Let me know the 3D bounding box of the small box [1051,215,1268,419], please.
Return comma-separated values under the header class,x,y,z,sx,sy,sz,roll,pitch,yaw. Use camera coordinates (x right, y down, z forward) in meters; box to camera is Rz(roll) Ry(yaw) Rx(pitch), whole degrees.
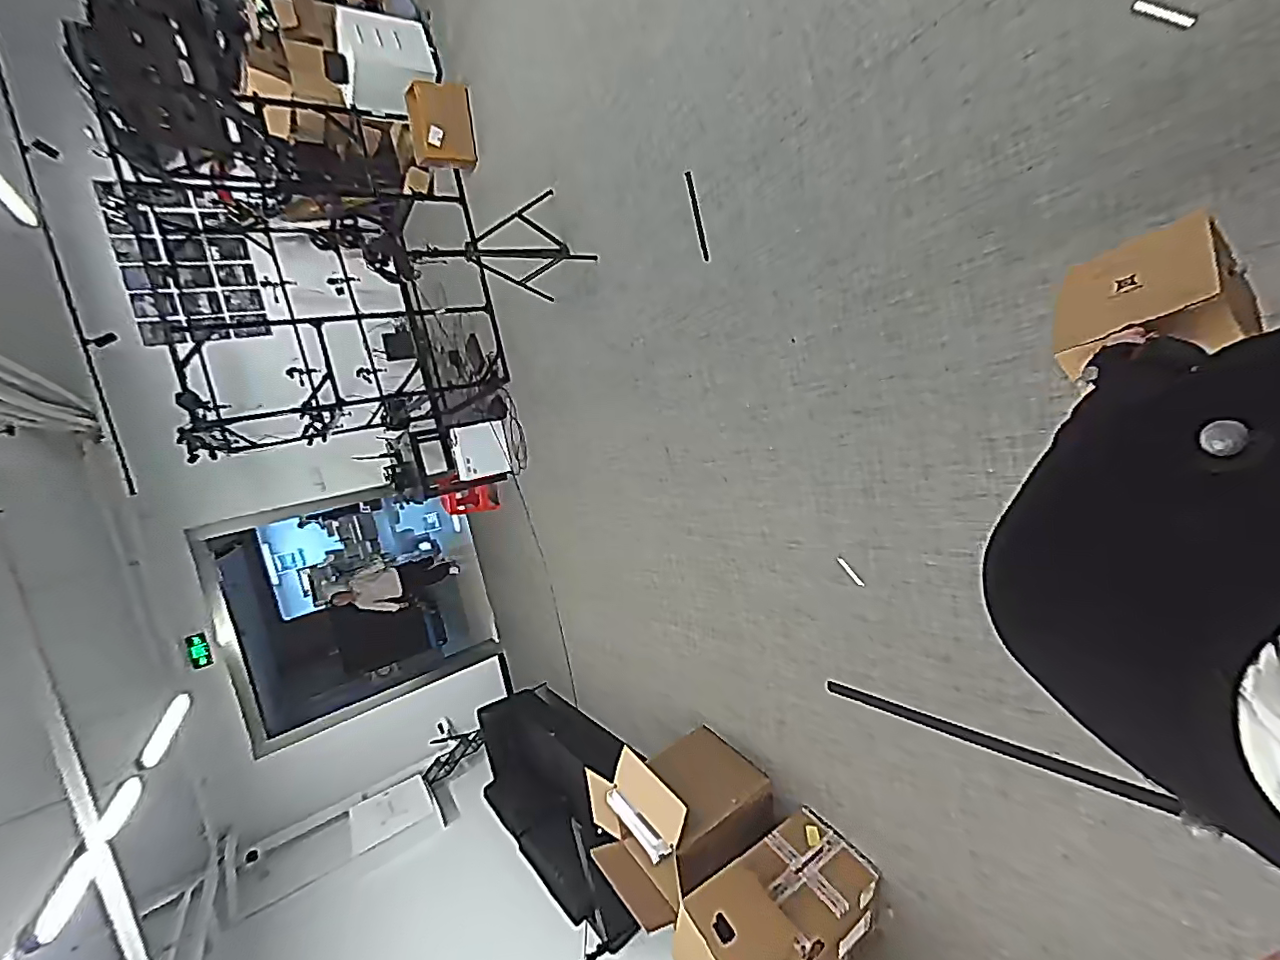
class,x,y,z,sx,sy,sz,roll,pitch,yaw
small box,0.694,-0.203,0.731,0.176,0.179,0.168,38,150,-20
